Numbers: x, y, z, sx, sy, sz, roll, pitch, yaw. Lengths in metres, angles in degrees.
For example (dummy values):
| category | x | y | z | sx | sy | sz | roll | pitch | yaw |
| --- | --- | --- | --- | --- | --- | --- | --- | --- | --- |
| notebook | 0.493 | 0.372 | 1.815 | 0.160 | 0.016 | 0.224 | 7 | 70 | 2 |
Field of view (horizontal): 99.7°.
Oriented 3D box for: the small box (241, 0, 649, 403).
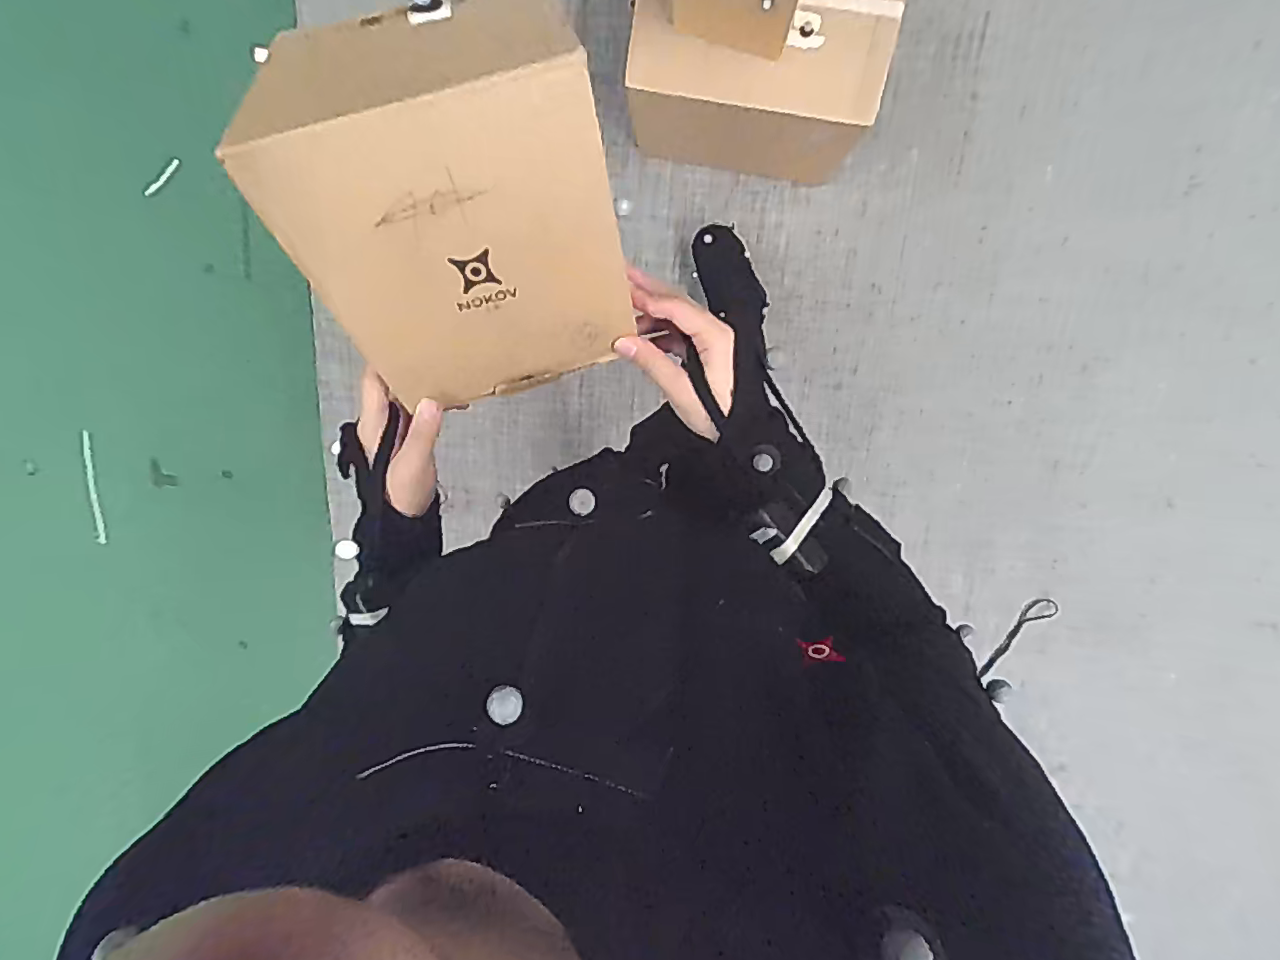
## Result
| category | x | y | z | sx | sy | sz | roll | pitch | yaw |
| --- | --- | --- | --- | --- | --- | --- | --- | --- | --- |
| small box | -0.100 | -0.184 | 0.348 | 0.168 | 0.176 | 0.179 | -16 | 144 | -1 |

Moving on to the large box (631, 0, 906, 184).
| category | x | y | z | sx | sy | sz | roll | pitch | yaw |
| --- | --- | --- | --- | --- | --- | --- | --- | --- | --- |
| large box | 0.208 | -0.765 | 0.965 | 0.408 | 0.320 | 0.320 | 10 | 105 | 1 |

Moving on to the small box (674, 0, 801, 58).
| category | x | y | z | sx | sy | sz | roll | pitch | yaw |
| --- | --- | --- | --- | --- | --- | --- | --- | --- | --- |
| small box | 0.148 | -0.718 | 0.730 | 0.179 | 0.176 | 0.168 | 16 | 103 | 0 |
